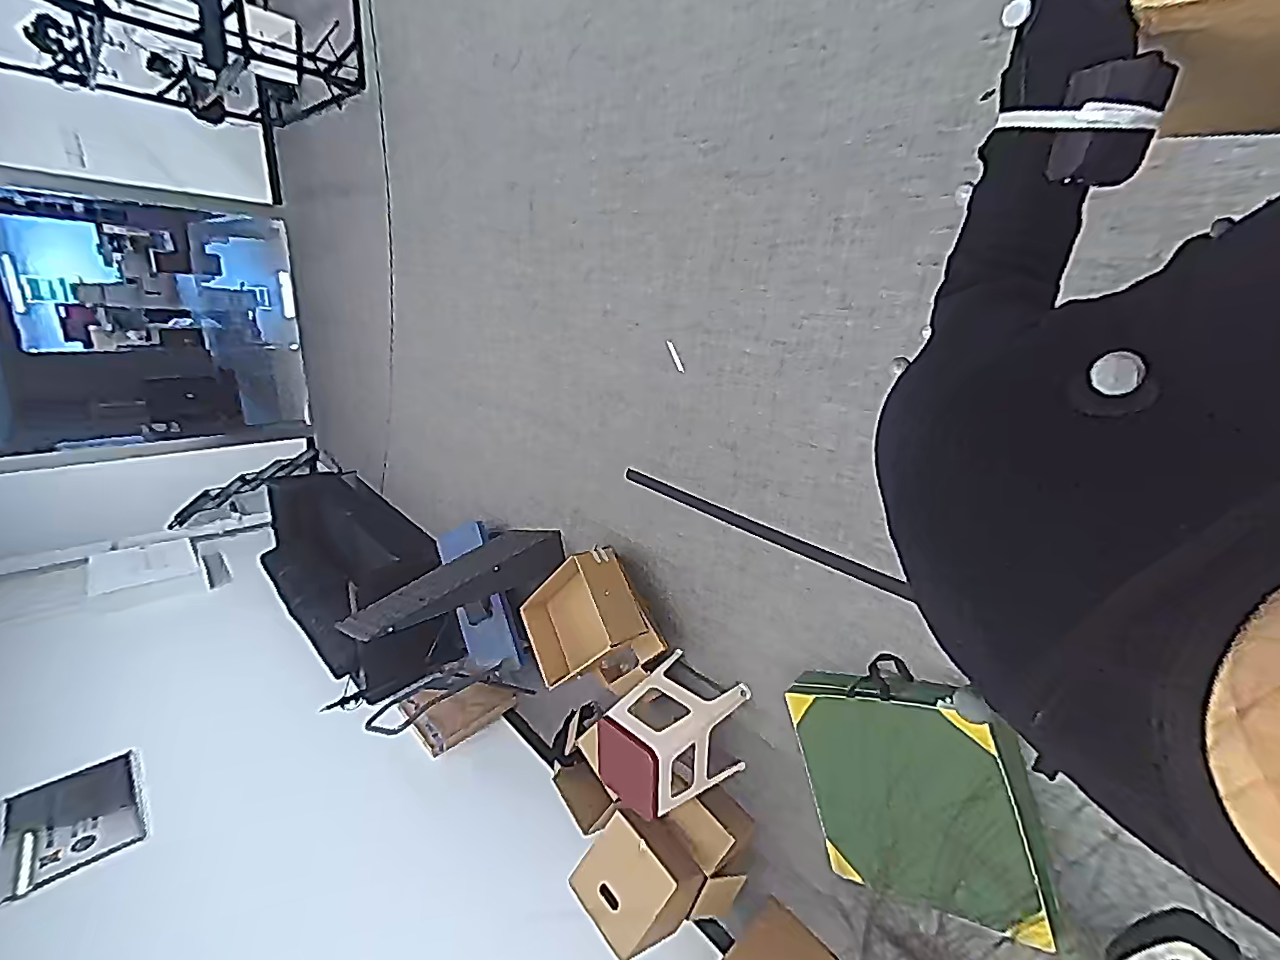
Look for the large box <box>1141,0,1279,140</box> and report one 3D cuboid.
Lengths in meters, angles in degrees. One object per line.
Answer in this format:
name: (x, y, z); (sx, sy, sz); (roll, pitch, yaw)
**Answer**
large box: (0.549, -0.380, 0.246); (0.408, 0.320, 0.320); (25, 119, 38)
